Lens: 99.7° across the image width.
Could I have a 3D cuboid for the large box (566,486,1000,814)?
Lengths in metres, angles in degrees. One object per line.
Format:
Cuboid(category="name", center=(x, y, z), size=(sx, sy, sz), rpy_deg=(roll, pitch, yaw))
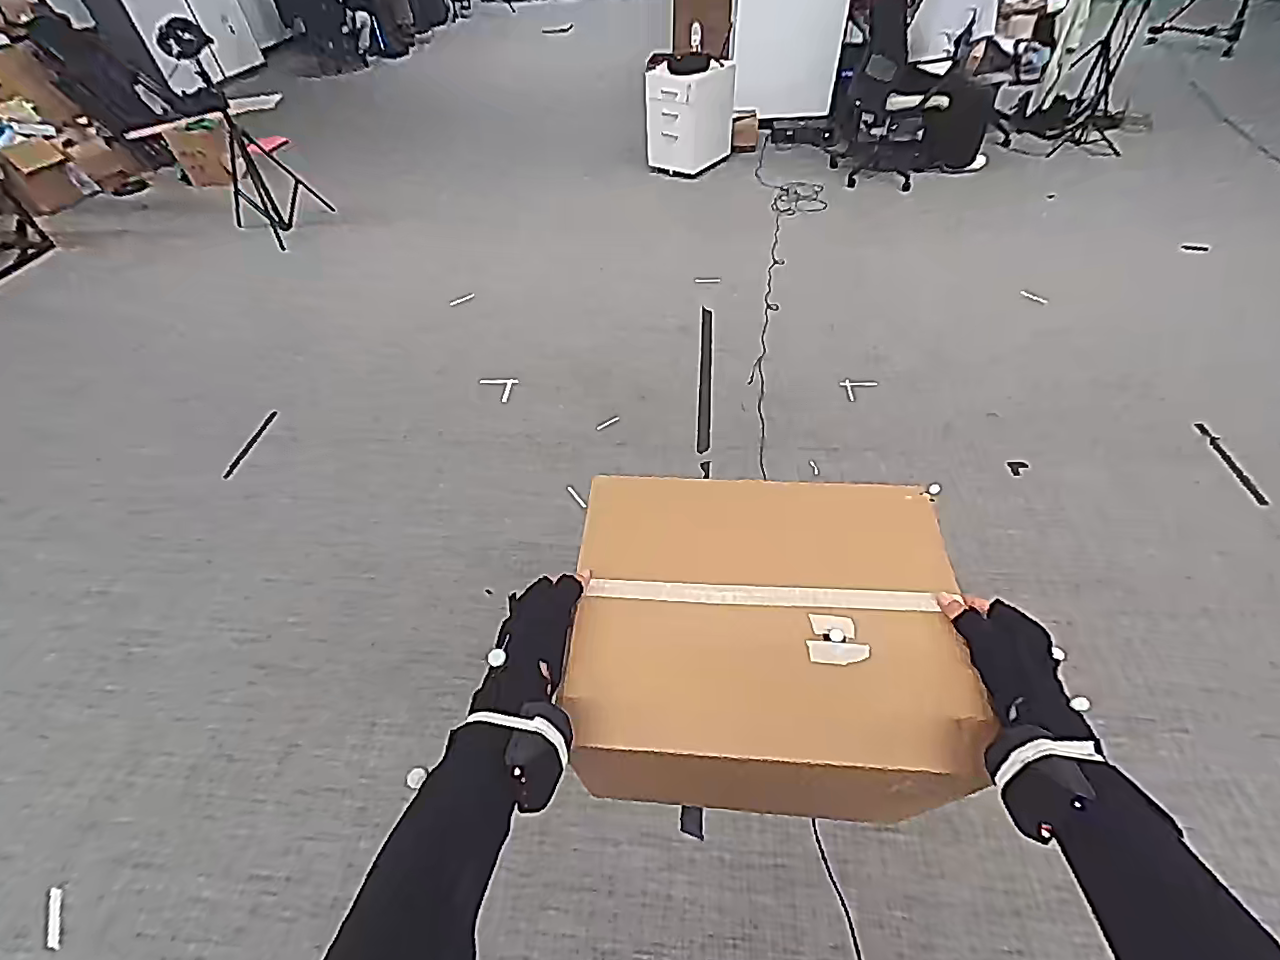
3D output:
Cuboid(category="large box", center=(0.139, 0.224, 0.701), size=(0.408, 0.320, 0.320), rpy_deg=(2, 52, 4))
